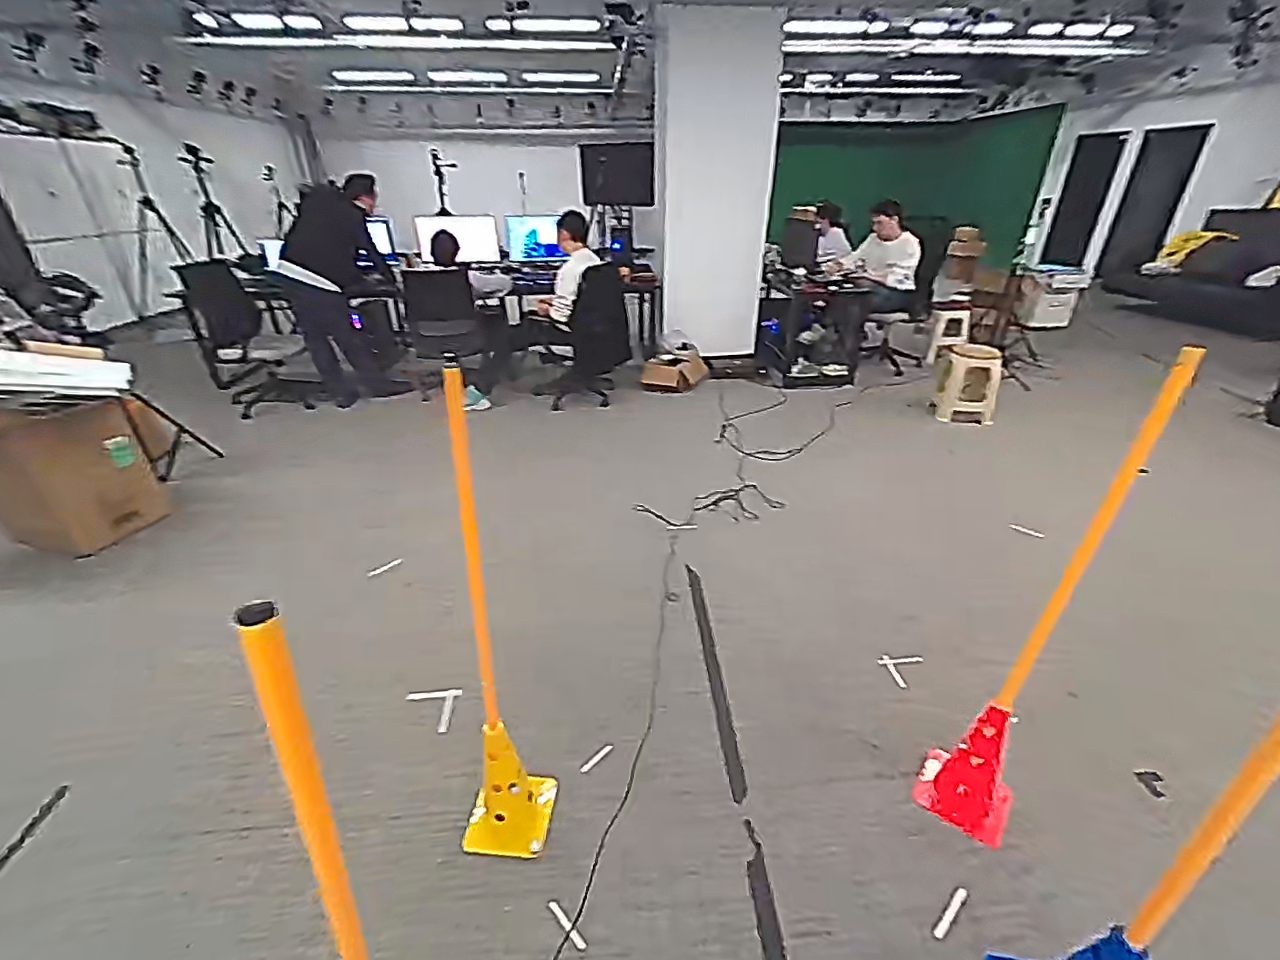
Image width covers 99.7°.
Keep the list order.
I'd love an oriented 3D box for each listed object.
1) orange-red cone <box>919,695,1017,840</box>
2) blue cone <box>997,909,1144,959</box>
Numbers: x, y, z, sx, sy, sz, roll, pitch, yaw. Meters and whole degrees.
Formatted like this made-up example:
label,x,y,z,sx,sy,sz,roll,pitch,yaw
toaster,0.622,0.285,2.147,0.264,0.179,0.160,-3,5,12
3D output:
label,x,y,z,sx,sy,sz,roll,pitch,yaw
orange-red cone,0.858,0.670,1.342,0.198,0.360,0.199,22,37,37
blue cone,0.806,0.893,0.962,0.193,0.380,0.192,5,28,11
